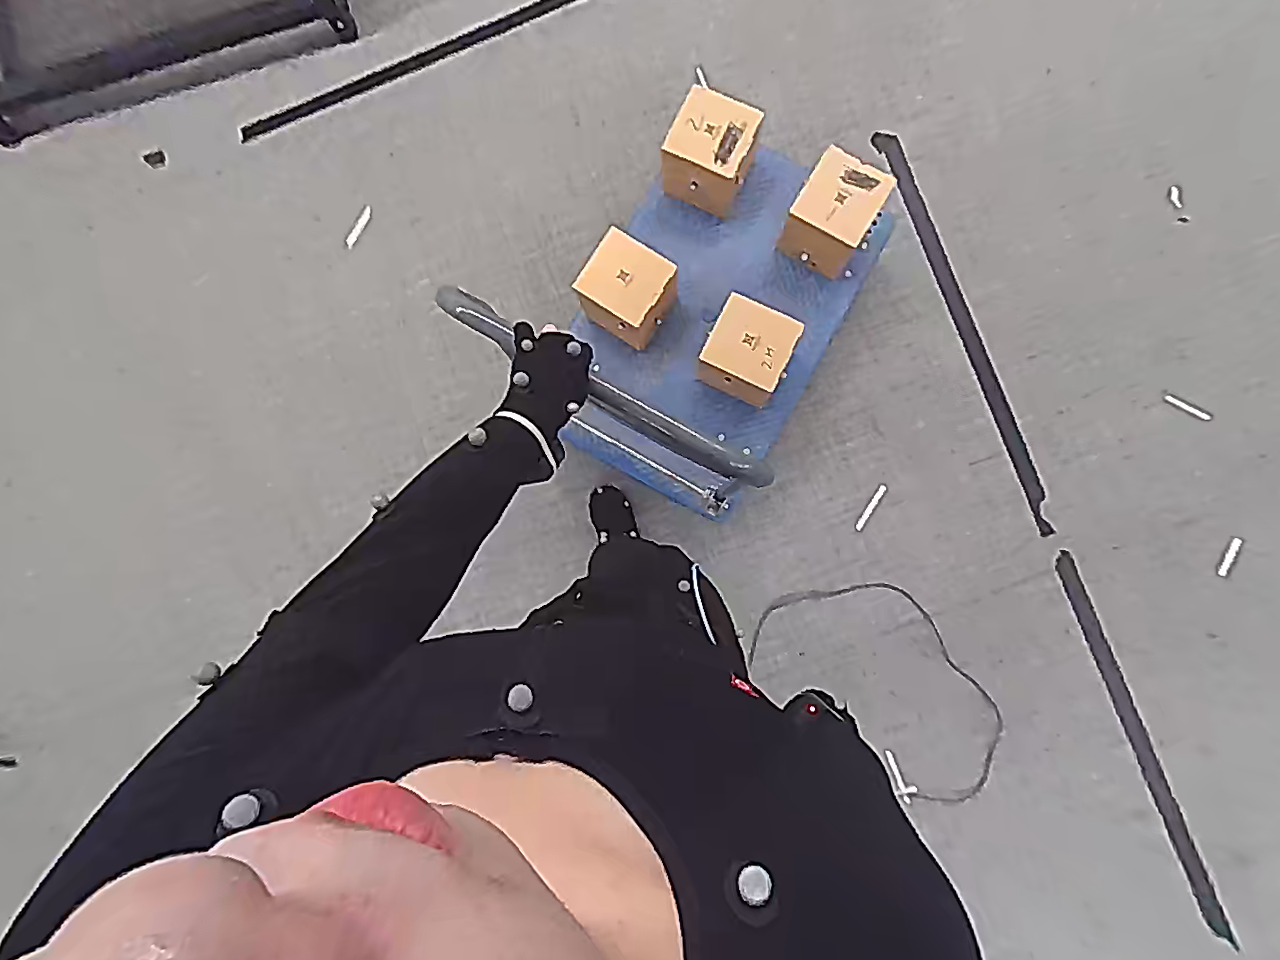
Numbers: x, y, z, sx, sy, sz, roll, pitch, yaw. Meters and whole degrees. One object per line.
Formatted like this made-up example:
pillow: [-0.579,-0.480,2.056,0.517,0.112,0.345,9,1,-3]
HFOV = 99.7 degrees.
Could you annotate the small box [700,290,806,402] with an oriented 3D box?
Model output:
small box: [0.246,-0.294,1.227,0.179,0.176,0.168,27,89,5]

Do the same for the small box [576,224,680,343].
small box: [-0.024,-0.444,1.254,0.179,0.176,0.168,33,89,4]

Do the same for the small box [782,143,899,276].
small box: [0.444,-0.606,1.232,0.168,0.176,0.179,32,90,5]
